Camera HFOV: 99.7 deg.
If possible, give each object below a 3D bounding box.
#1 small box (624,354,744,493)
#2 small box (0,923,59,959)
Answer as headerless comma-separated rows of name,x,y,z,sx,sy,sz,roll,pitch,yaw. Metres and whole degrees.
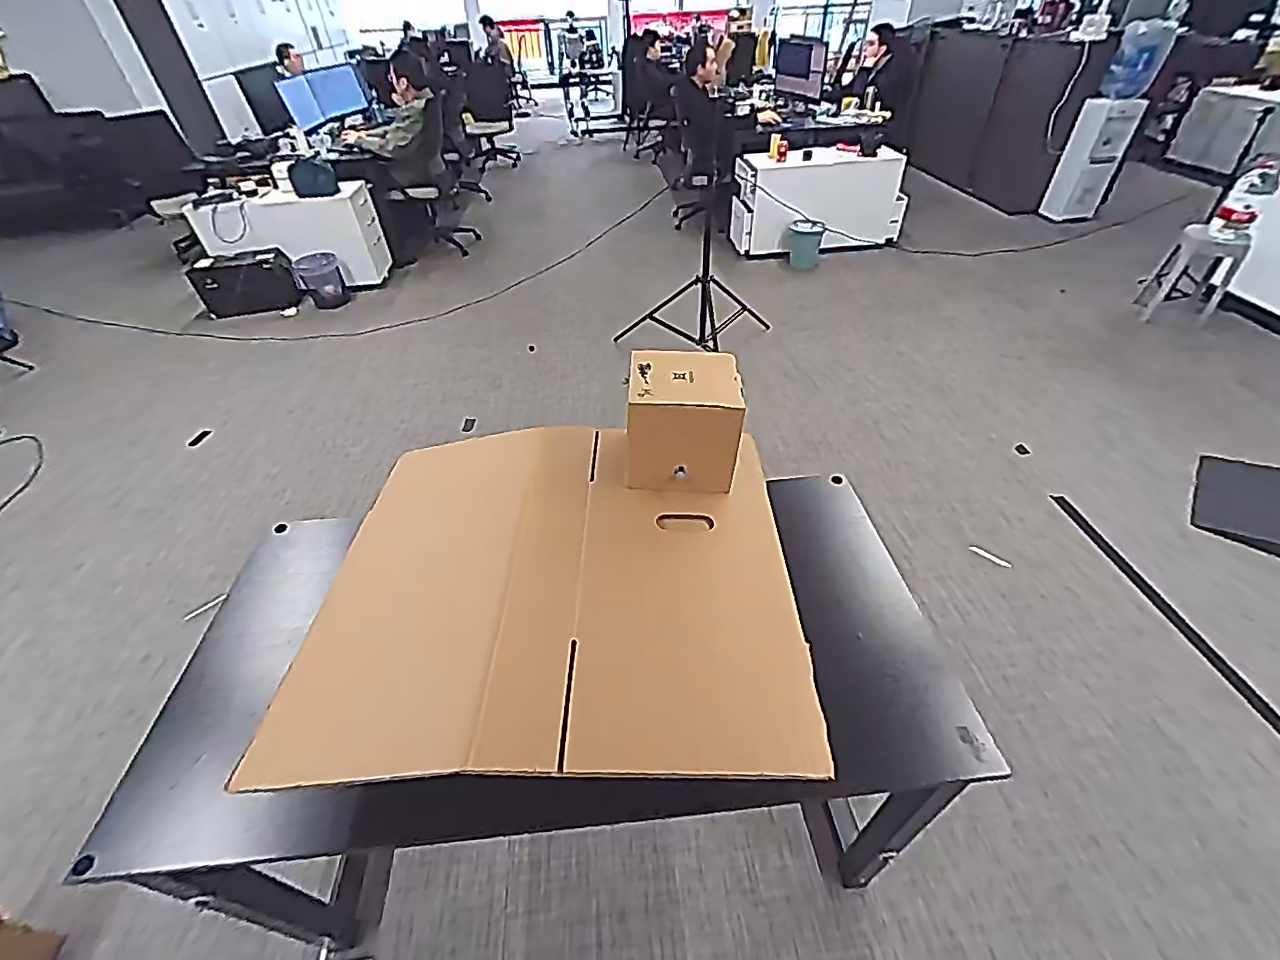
small box,0.066,-0.093,0.908,0.179,0.176,0.168,3,40,-1
small box,-1.348,1.029,1.084,0.168,0.176,0.179,-8,43,-5
